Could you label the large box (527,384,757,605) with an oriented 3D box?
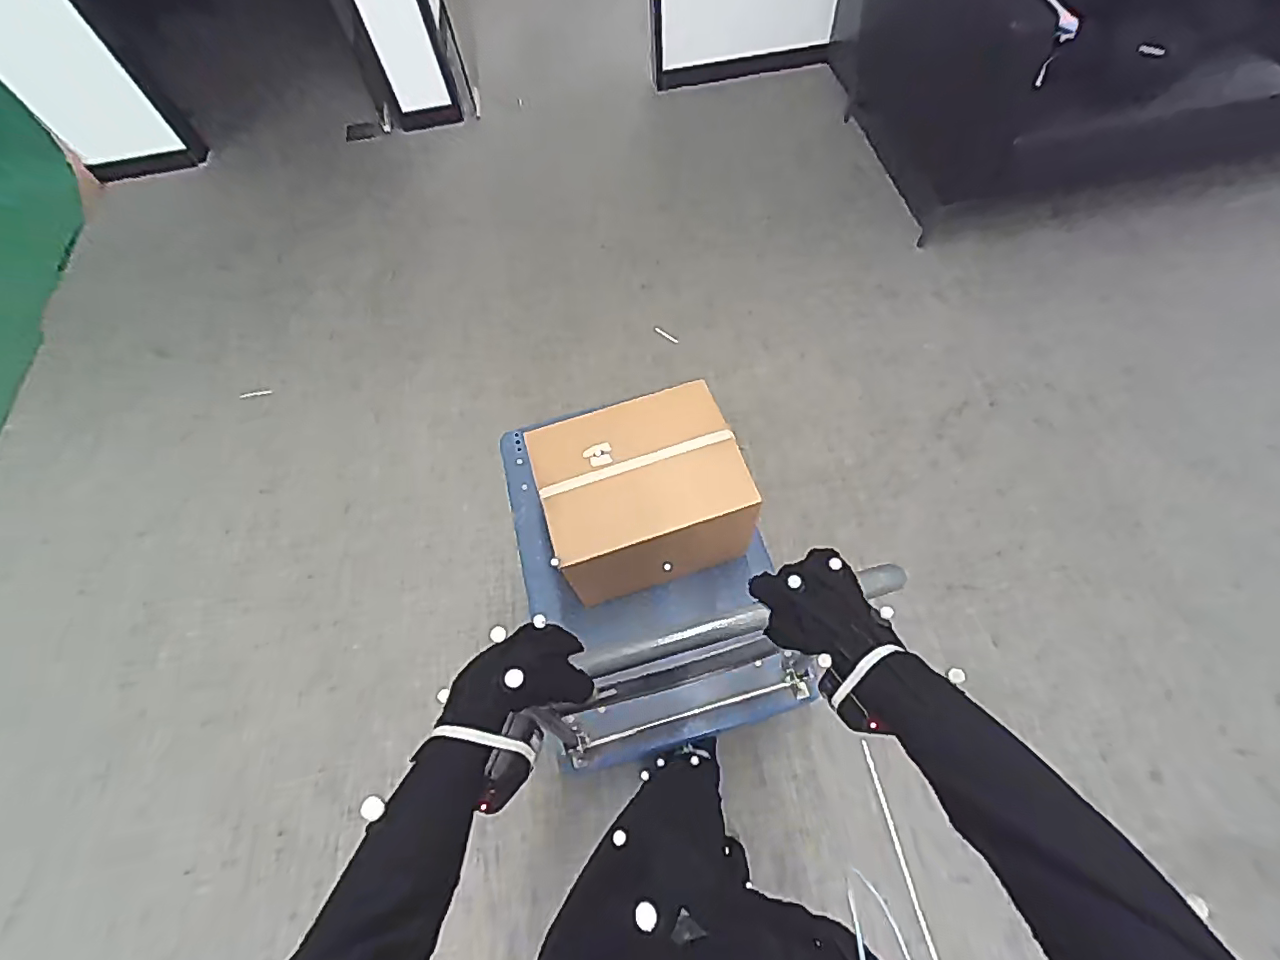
[{"bbox_3d":[0.006,0.046,1.225,0.408,0.320,0.320,-19,63,-5],"label":"large box"}]
